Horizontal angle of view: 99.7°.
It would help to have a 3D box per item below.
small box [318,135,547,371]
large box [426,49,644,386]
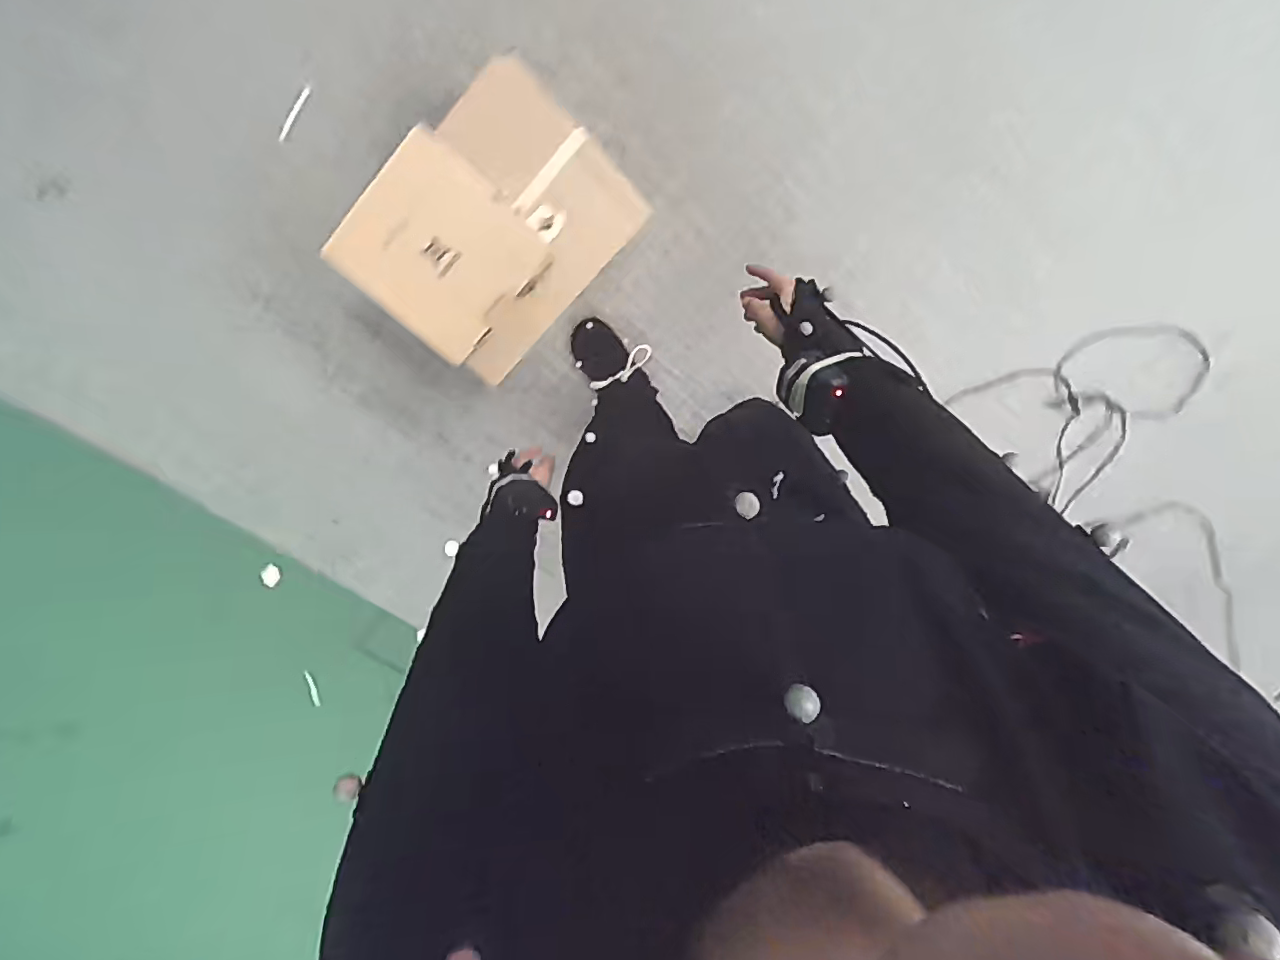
[{"bbox_3d":[-0.225,-0.259,0.643,0.179,0.176,0.168,40,100,-18],"label":"small box"},{"bbox_3d":[-0.251,-0.446,1.007,0.320,0.320,0.408,40,101,-20],"label":"large box"}]
